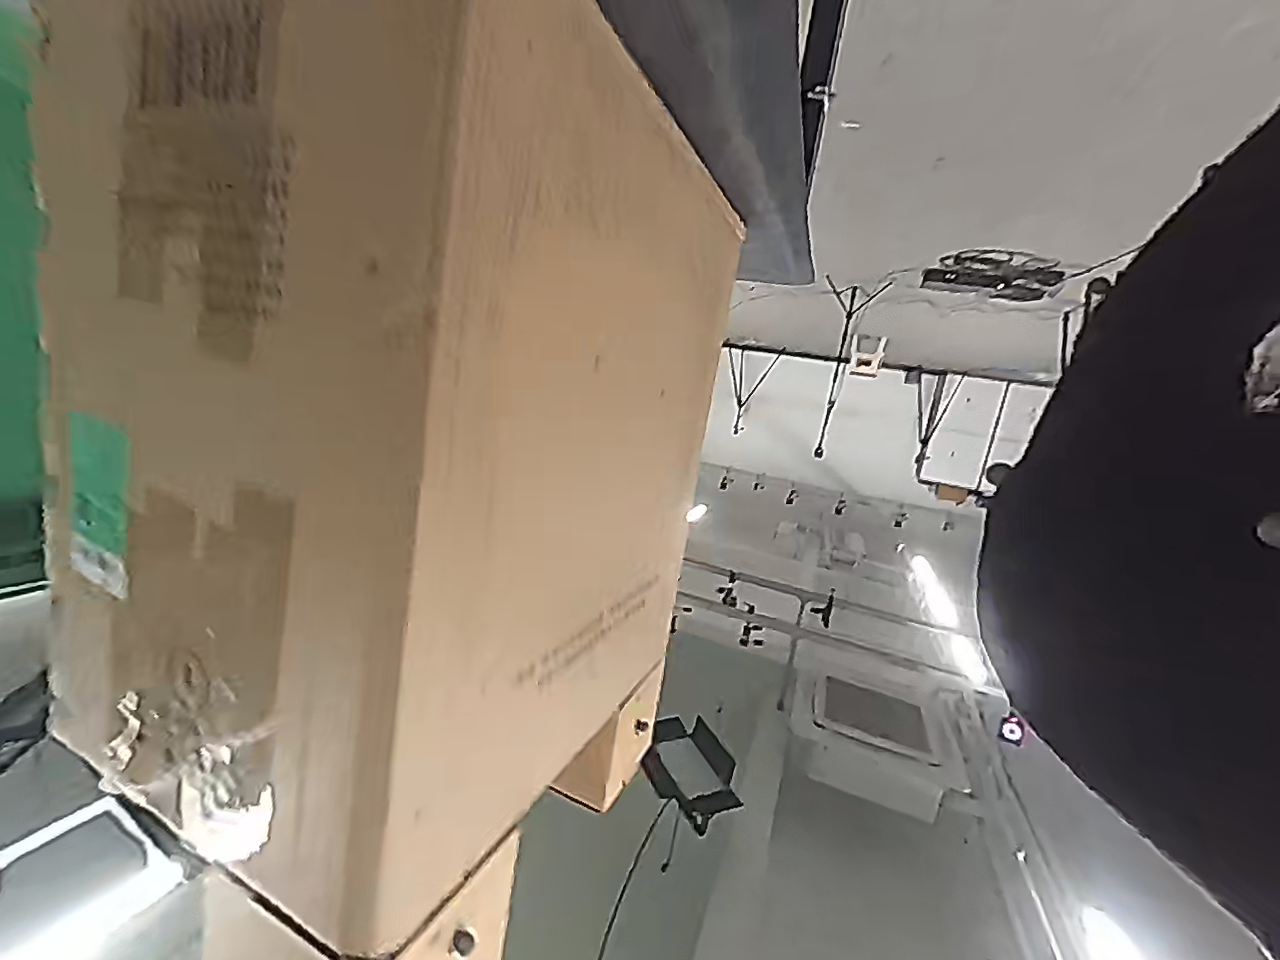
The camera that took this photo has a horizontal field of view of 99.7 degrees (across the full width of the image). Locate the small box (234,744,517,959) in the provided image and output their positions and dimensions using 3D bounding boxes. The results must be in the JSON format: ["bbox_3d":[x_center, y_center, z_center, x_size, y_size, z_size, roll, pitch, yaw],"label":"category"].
[{"bbox_3d":[-0.233,0.380,0.495,0.179,0.176,0.168,13,-169,23],"label":"small box"}]

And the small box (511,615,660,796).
[{"bbox_3d":[-0.078,0.334,0.838,0.179,0.176,0.168,13,-167,22],"label":"small box"}]
